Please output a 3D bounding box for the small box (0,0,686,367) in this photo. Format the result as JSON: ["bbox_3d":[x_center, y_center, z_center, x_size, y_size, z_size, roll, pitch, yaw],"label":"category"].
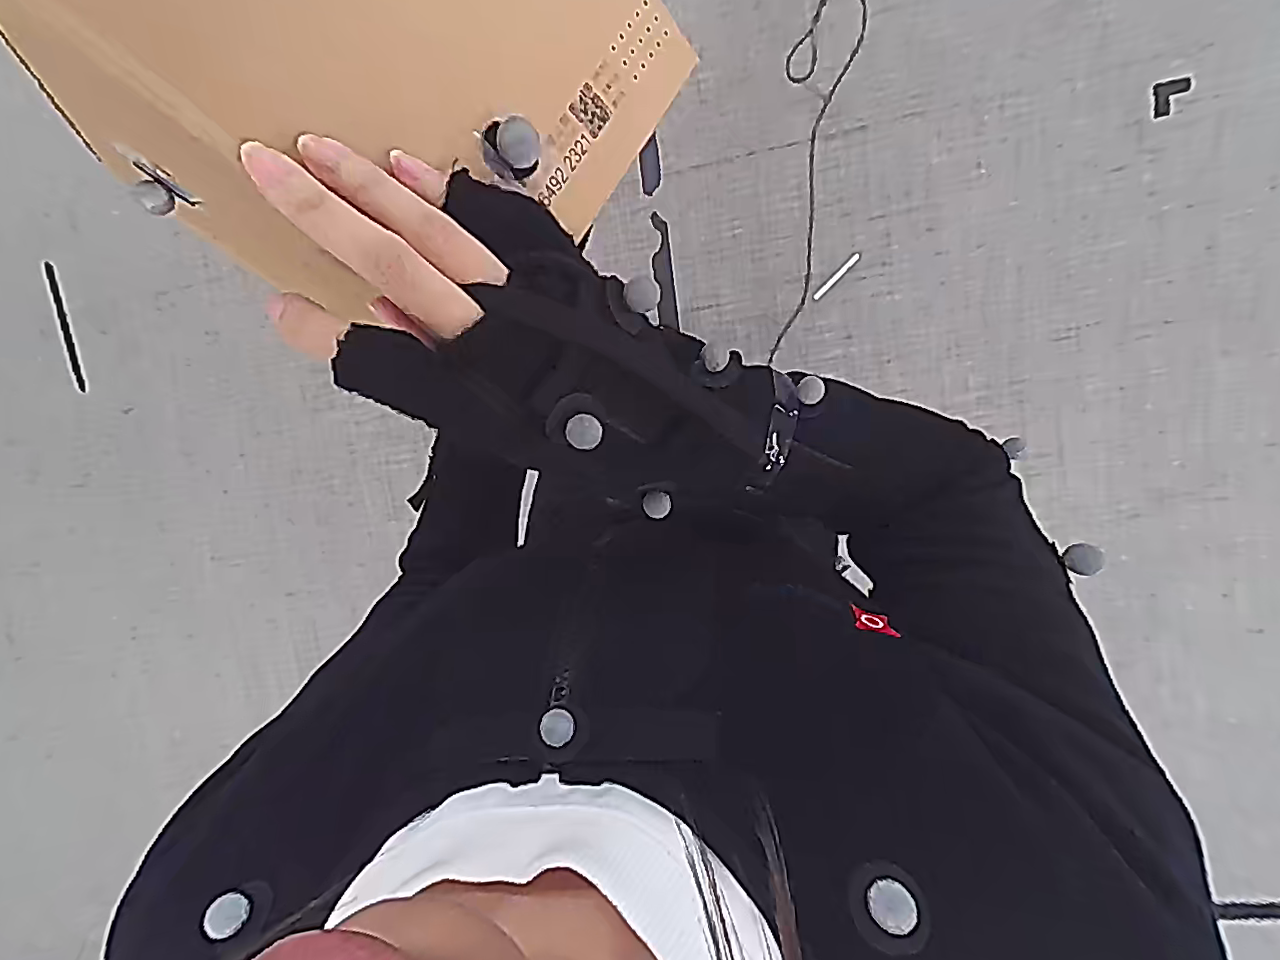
[{"bbox_3d":[-0.114,-0.167,0.254,0.176,0.179,0.168,36,78,-33],"label":"small box"}]
